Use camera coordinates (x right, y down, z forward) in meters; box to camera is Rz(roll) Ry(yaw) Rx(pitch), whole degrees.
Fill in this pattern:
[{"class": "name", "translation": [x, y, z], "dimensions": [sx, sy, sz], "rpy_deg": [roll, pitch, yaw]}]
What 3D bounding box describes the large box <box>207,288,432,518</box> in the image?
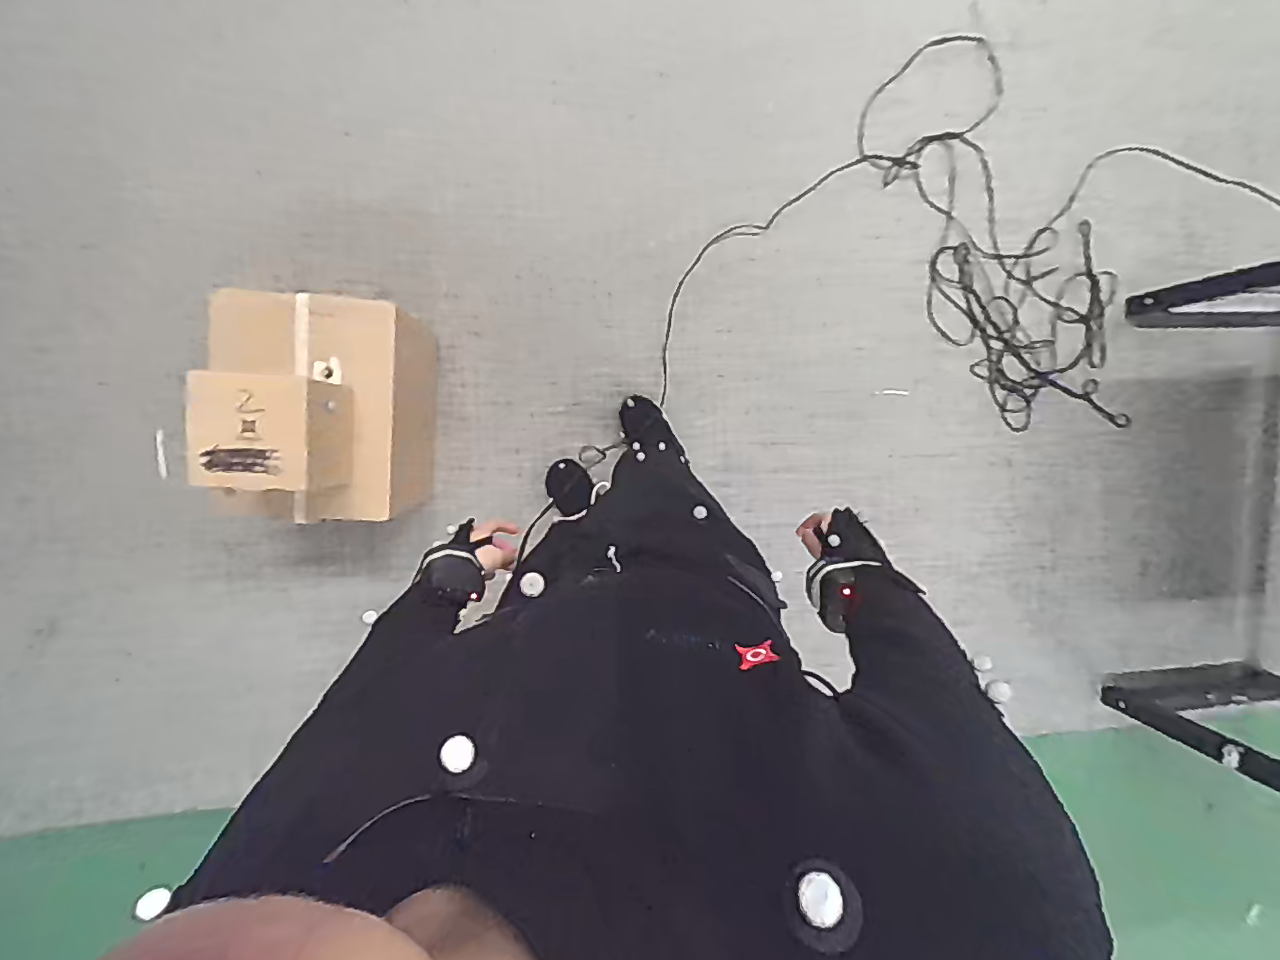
[{"class": "large box", "translation": [-0.628, -0.140, 1.117], "dimensions": [0.320, 0.320, 0.408], "rpy_deg": [3, 93, -8]}]
